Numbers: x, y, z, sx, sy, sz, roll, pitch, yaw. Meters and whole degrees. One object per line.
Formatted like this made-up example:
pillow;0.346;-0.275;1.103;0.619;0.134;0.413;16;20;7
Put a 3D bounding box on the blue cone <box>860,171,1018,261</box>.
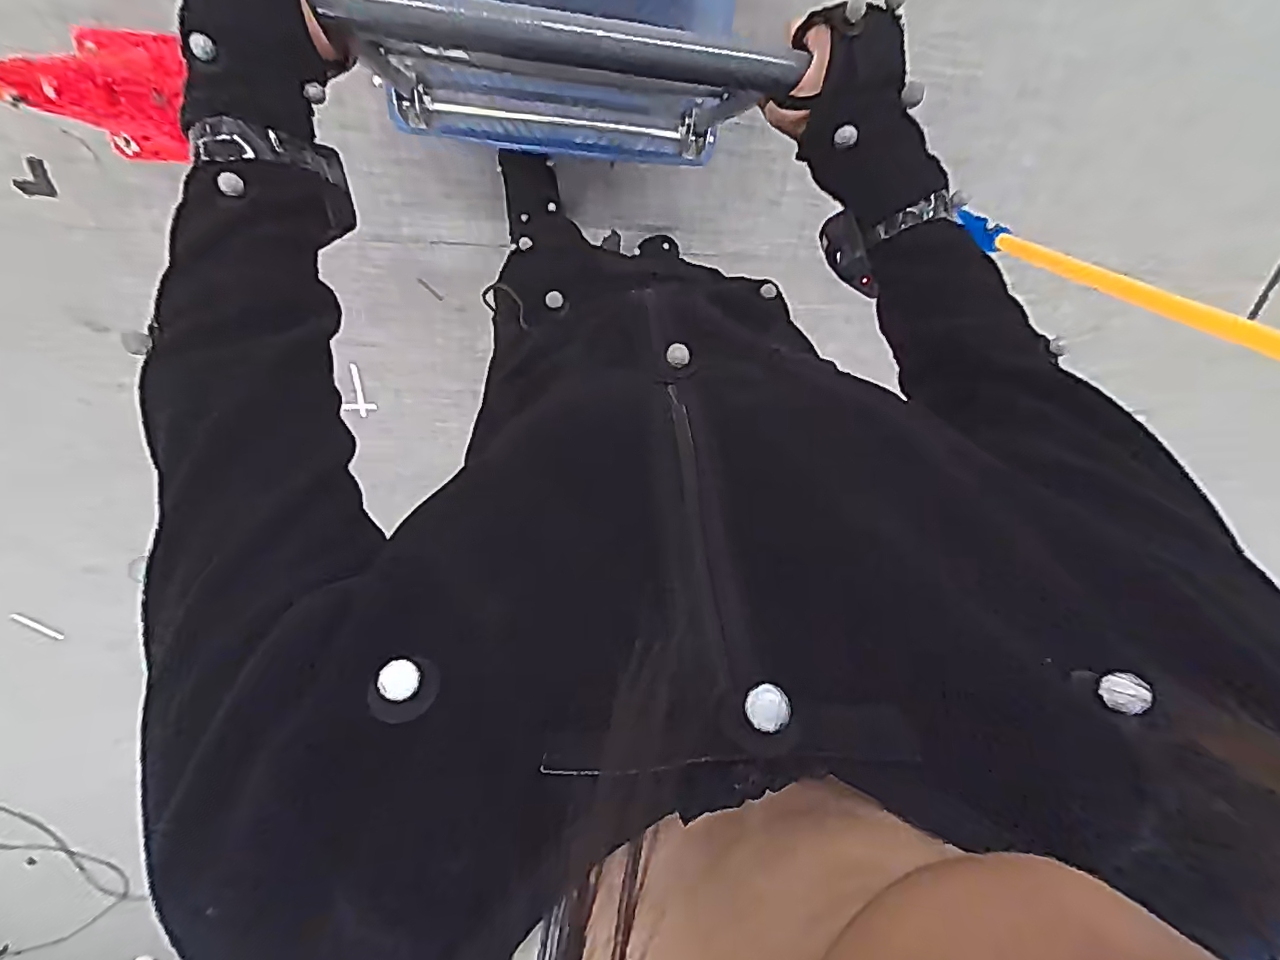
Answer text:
blue cone;0.639;-0.539;1.135;0.193;0.380;0.192;-4;120;-6
